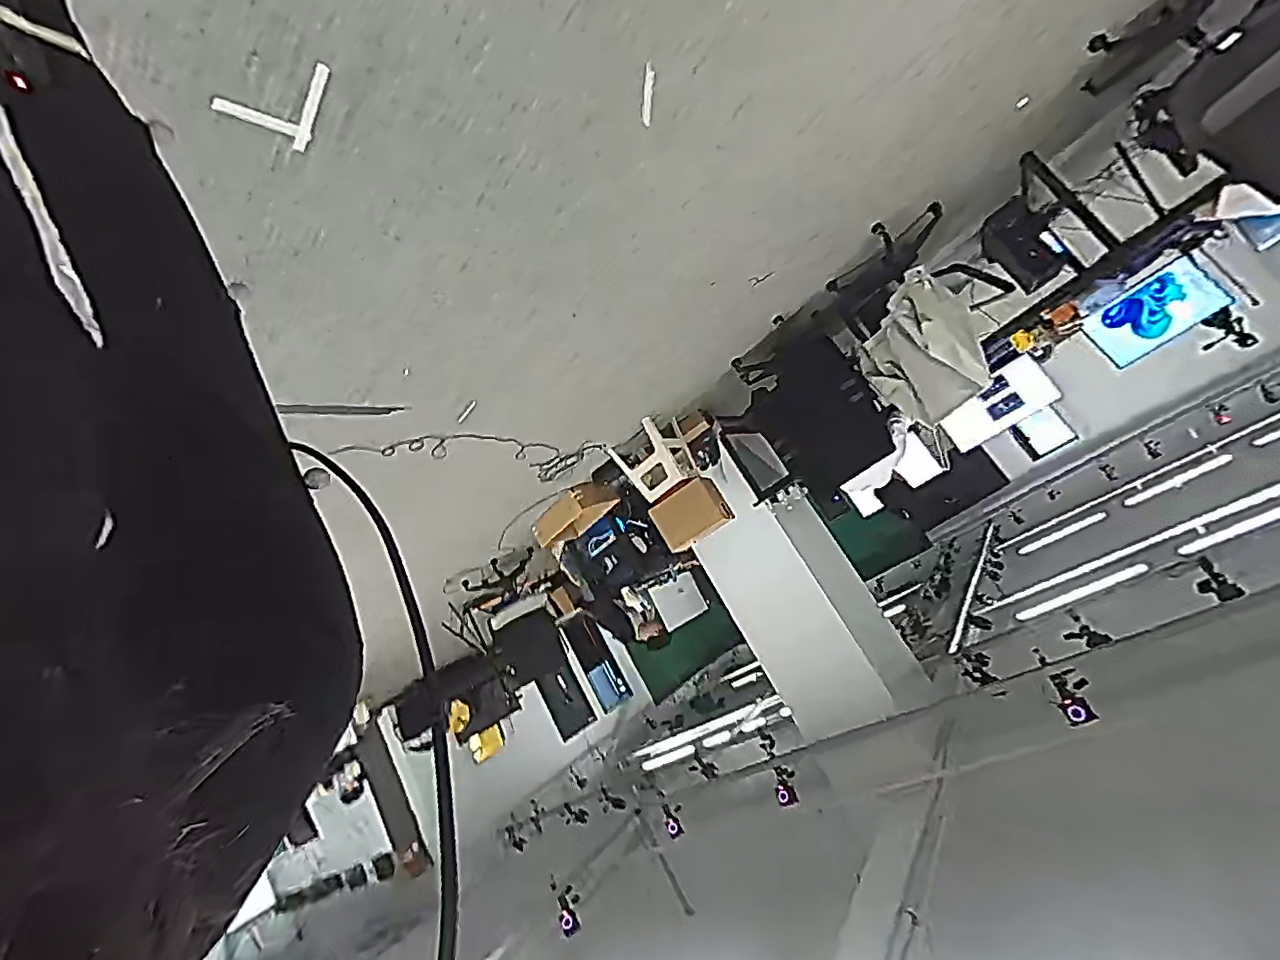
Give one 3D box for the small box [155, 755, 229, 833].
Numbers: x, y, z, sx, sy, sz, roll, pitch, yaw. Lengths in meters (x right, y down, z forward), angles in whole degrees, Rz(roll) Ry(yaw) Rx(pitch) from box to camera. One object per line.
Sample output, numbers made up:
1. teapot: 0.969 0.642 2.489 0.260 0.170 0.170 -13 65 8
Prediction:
1. small box: -1.559 1.089 1.884 0.168 0.176 0.179 -16 159 -44
